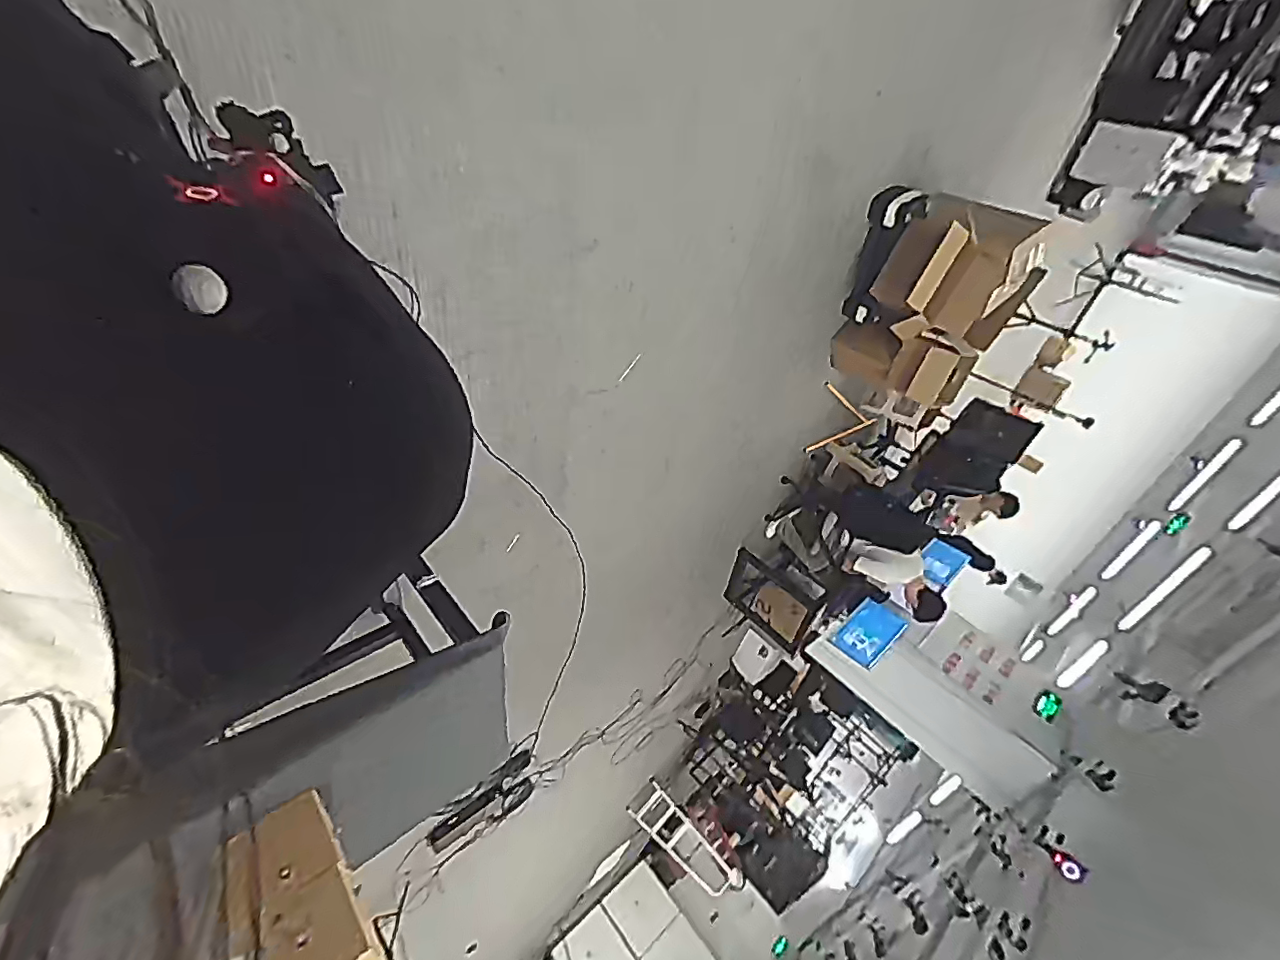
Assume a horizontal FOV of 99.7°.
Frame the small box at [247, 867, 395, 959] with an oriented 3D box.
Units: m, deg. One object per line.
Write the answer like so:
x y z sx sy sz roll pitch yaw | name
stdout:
-0.573 0.851 0.980 0.168 0.176 0.179 -27 139 -35 | small box

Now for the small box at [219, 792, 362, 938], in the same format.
-0.682 0.762 1.063 0.179 0.176 0.168 -25 138 -35 | small box
